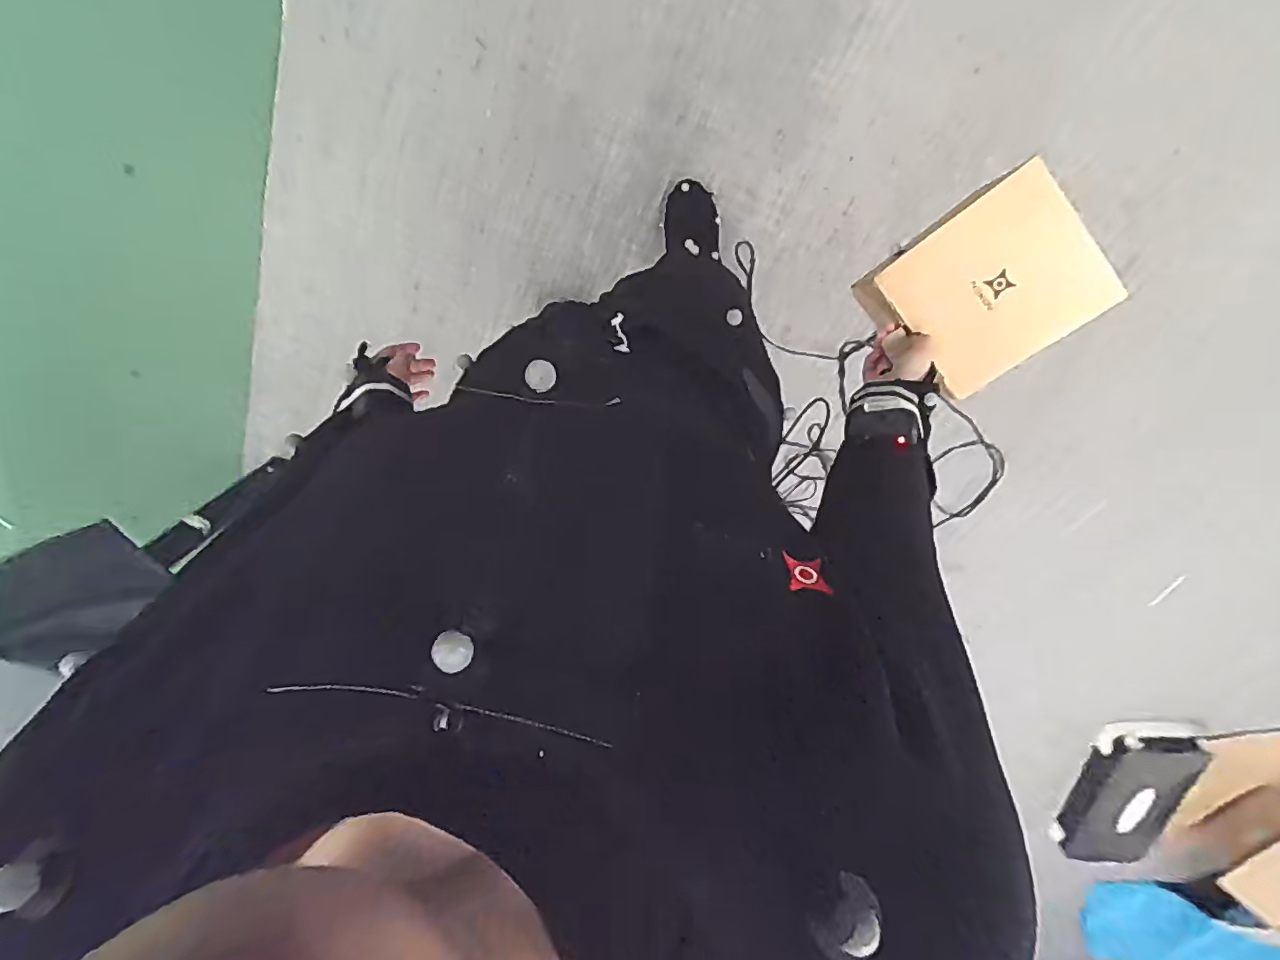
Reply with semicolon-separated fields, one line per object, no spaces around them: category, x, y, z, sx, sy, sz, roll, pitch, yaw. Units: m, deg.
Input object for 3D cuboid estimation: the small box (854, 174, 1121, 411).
small box;0.376;-0.206;0.624;0.179;0.176;0.168;-36;95;20
